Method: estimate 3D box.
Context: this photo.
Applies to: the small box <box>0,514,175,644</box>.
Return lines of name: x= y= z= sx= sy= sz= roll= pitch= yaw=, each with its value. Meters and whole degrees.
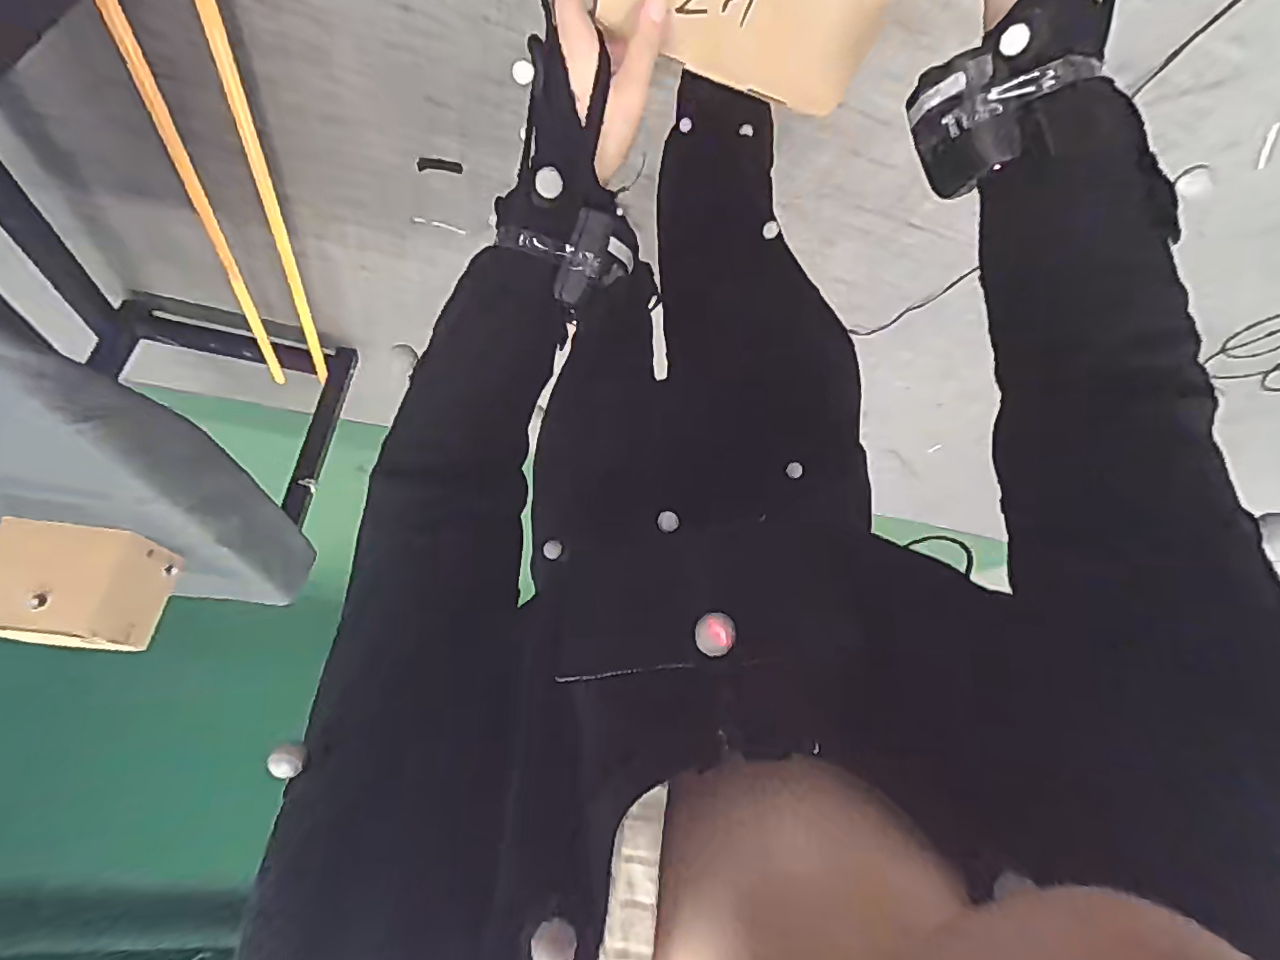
small box: x=-0.906 y=0.164 z=0.876 sx=0.179 sy=0.176 sz=0.168 roll=10 pitch=154 yaw=-11
